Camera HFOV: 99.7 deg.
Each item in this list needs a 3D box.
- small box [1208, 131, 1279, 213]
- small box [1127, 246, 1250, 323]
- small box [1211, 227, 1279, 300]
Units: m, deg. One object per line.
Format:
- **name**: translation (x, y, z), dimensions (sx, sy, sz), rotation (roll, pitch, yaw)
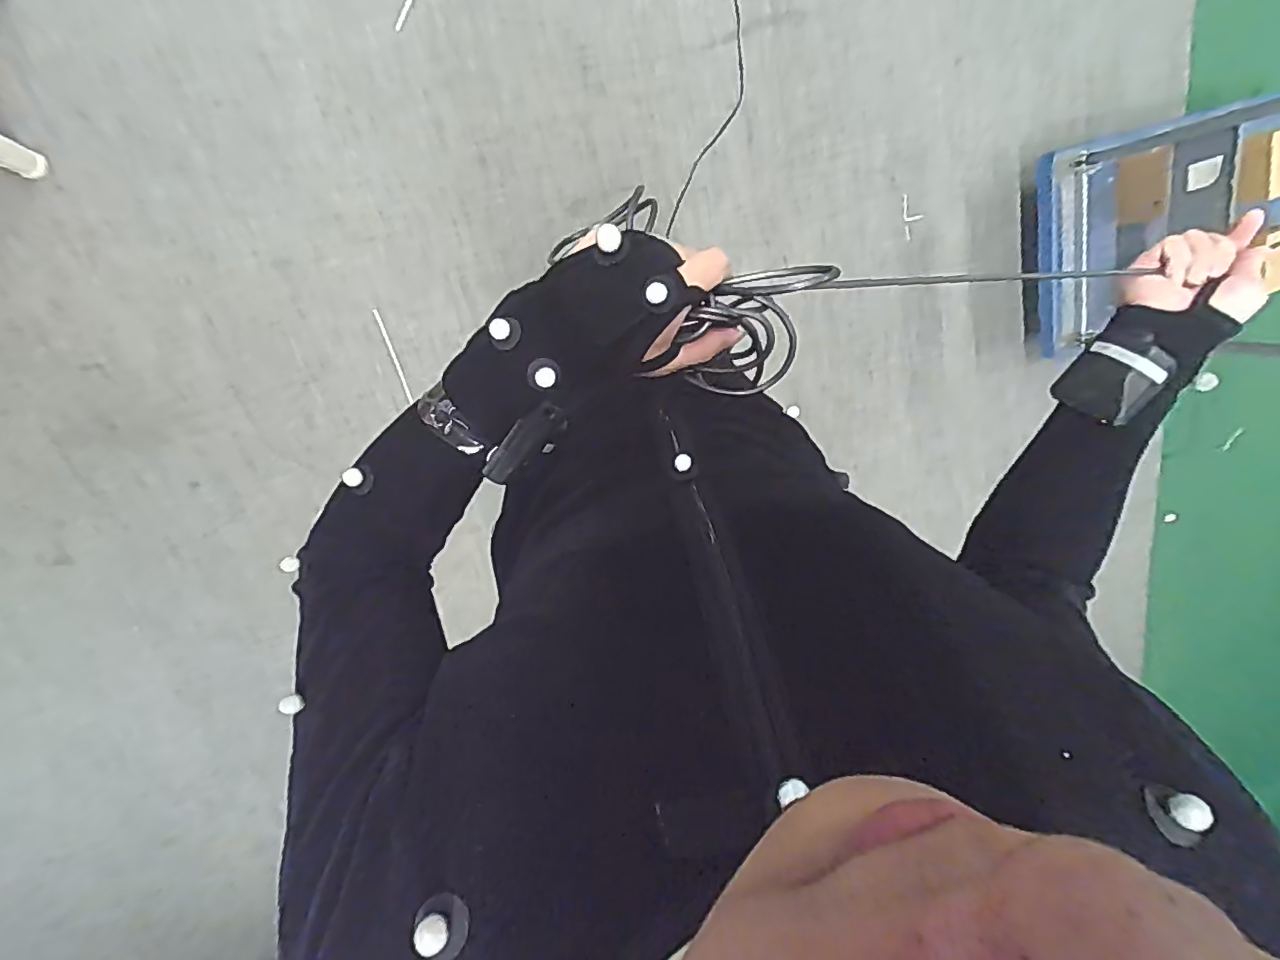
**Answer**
- **small box**: translation (1.711, -0.849, 1.470), dimensions (0.179, 0.176, 0.168), rotation (-20, 108, -5)
- **small box**: translation (1.532, -0.545, 1.519), dimensions (0.179, 0.176, 0.168), rotation (-16, 107, -6)
- **small box**: translation (1.789, -0.622, 1.546), dimensions (0.179, 0.176, 0.168), rotation (-20, 107, -4)
